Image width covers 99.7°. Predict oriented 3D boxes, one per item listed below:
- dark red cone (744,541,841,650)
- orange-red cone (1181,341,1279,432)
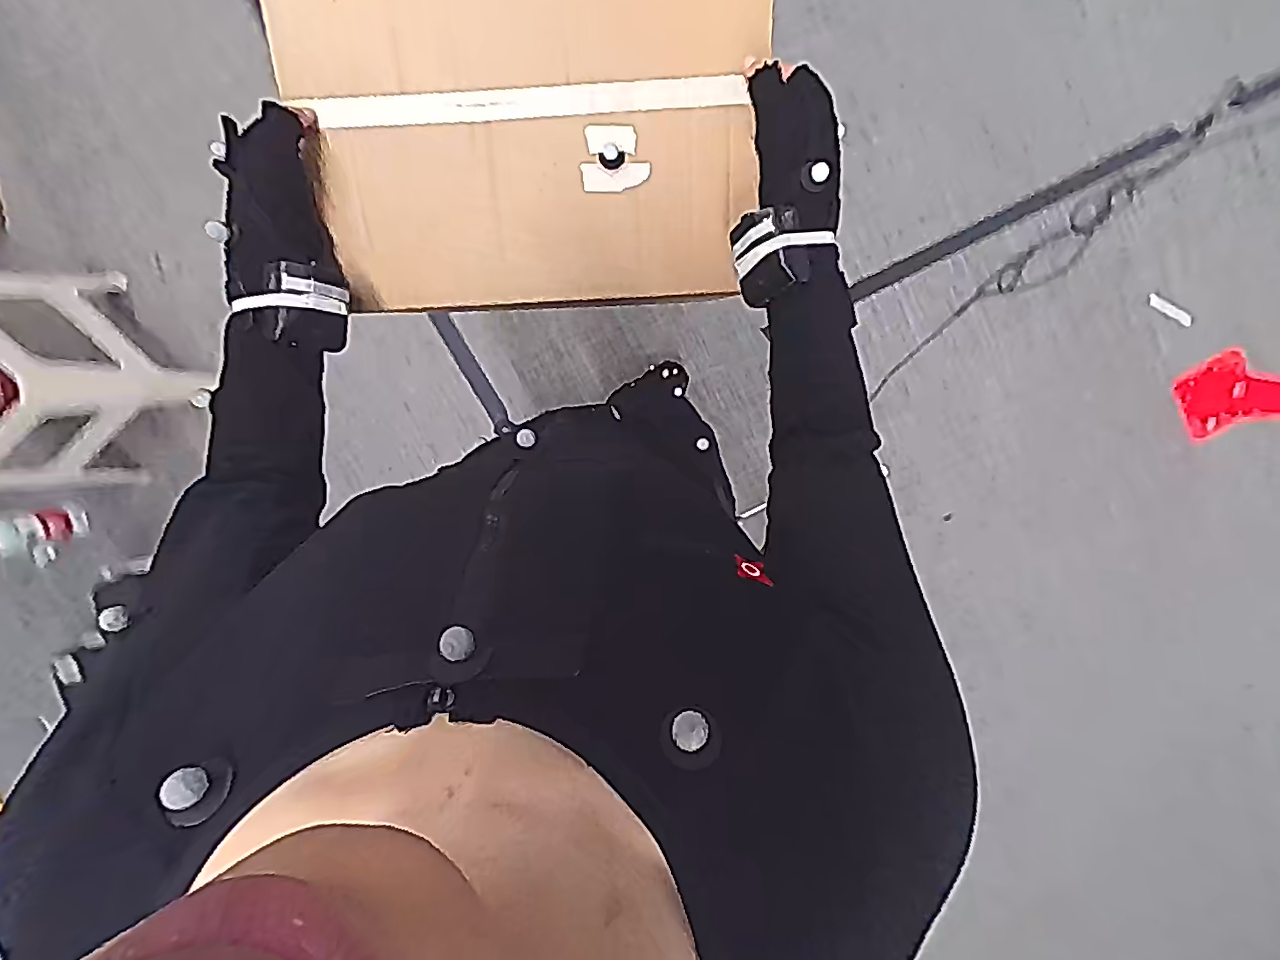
[{"bbox_3d":[0.412,0.313,1.350,0.202,0.394,0.201,-21,100,2],"label":"dark red cone"},{"bbox_3d":[1.597,-0.221,1.308,0.199,0.360,0.198,-30,101,3],"label":"orange-red cone"}]
